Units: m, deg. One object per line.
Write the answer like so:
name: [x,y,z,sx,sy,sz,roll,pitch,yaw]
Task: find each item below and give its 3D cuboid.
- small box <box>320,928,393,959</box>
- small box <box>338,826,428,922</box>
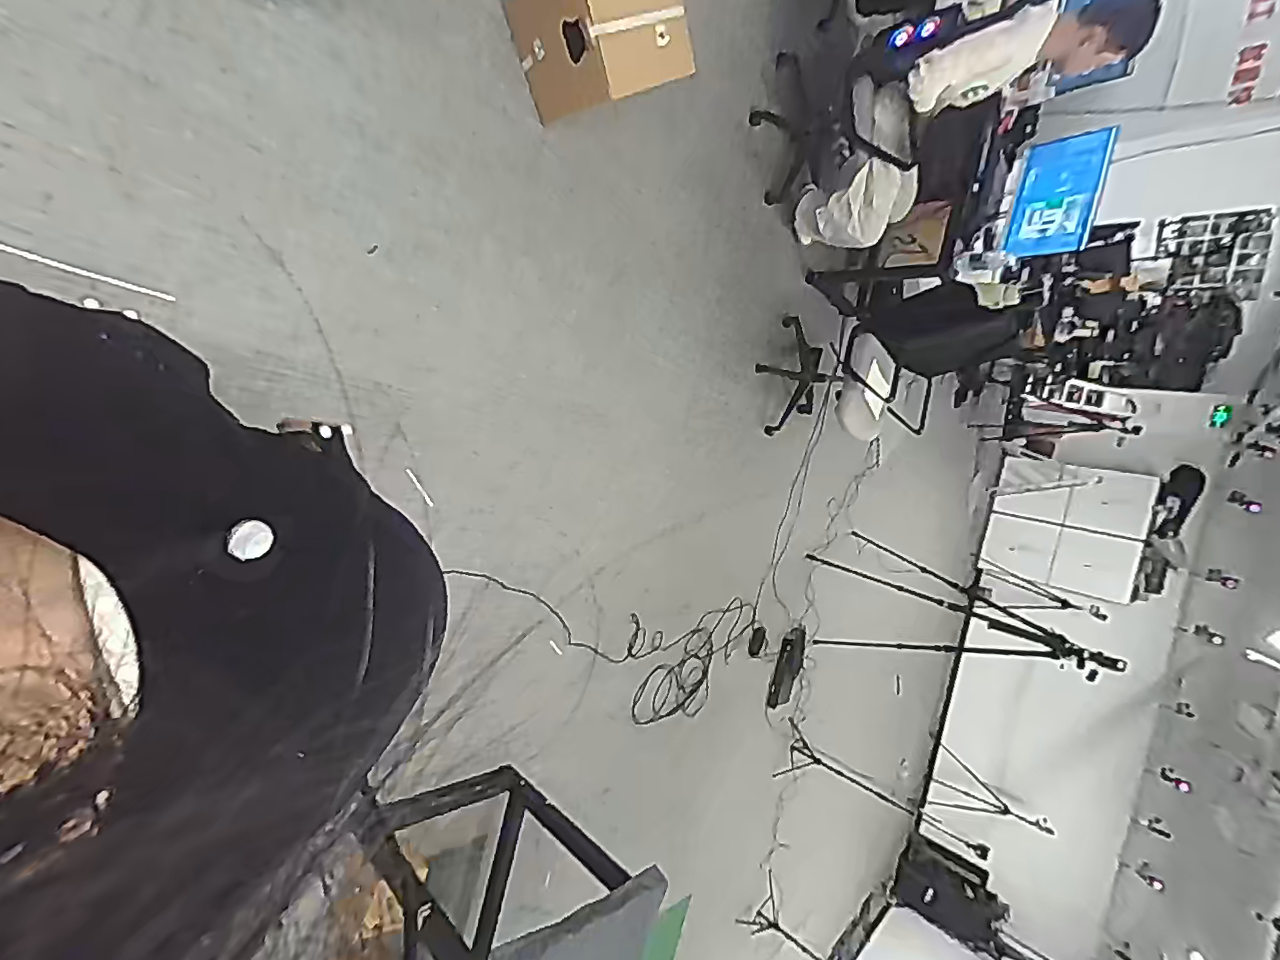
small box: [-0.889,1.535,1.662,0.168,0.176,0.179,43,68,-46]
small box: [-0.797,1.200,1.668,0.168,0.176,0.179,31,77,-48]
